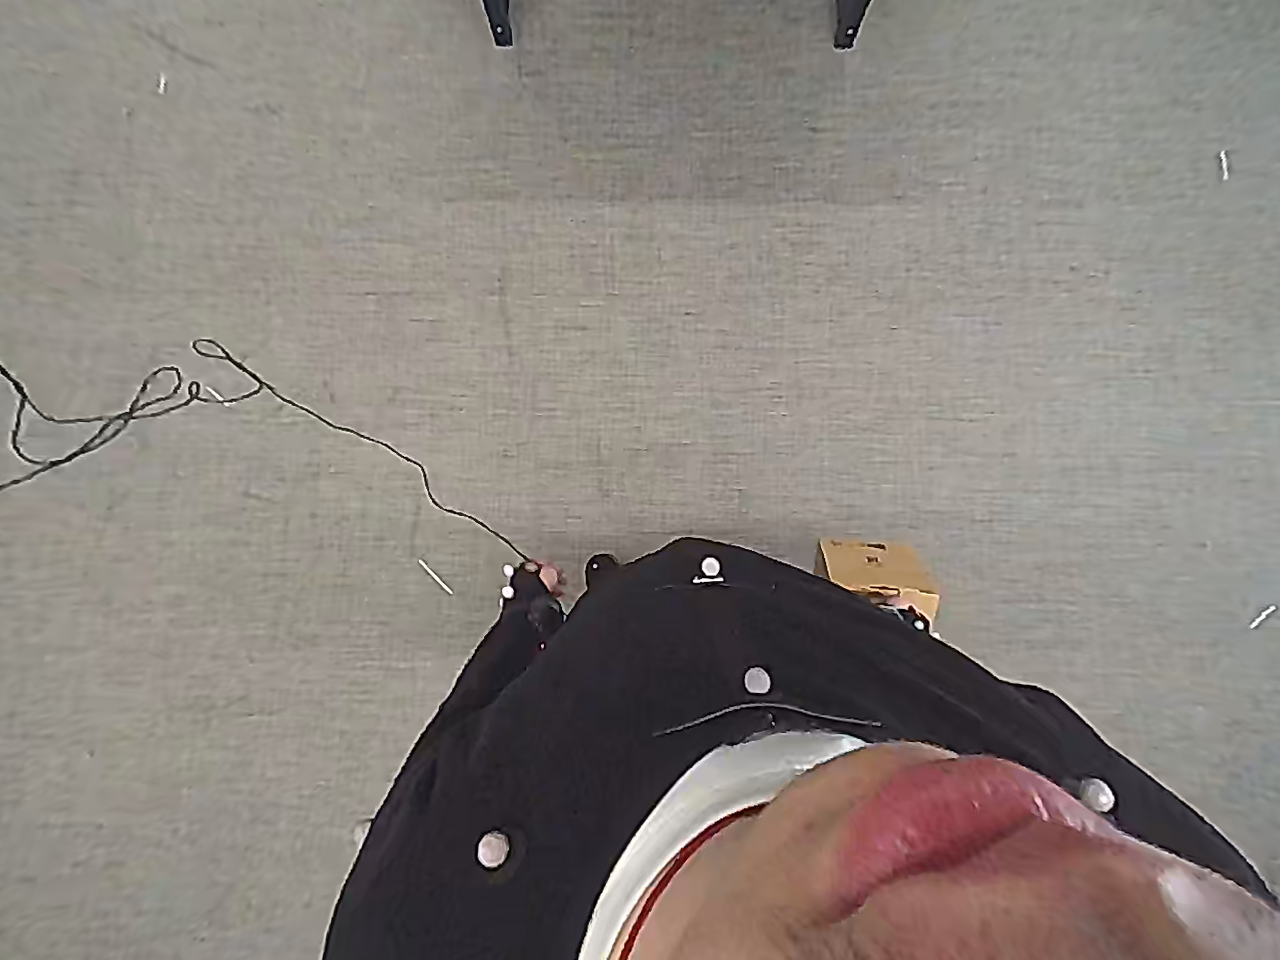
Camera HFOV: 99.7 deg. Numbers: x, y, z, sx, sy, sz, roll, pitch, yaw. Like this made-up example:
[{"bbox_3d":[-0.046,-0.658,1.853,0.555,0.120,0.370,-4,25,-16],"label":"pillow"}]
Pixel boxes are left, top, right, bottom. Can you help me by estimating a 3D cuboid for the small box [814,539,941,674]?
[{"bbox_3d":[0.407,0.219,0.957,0.168,0.179,0.176,1,112,9],"label":"small box"}]
